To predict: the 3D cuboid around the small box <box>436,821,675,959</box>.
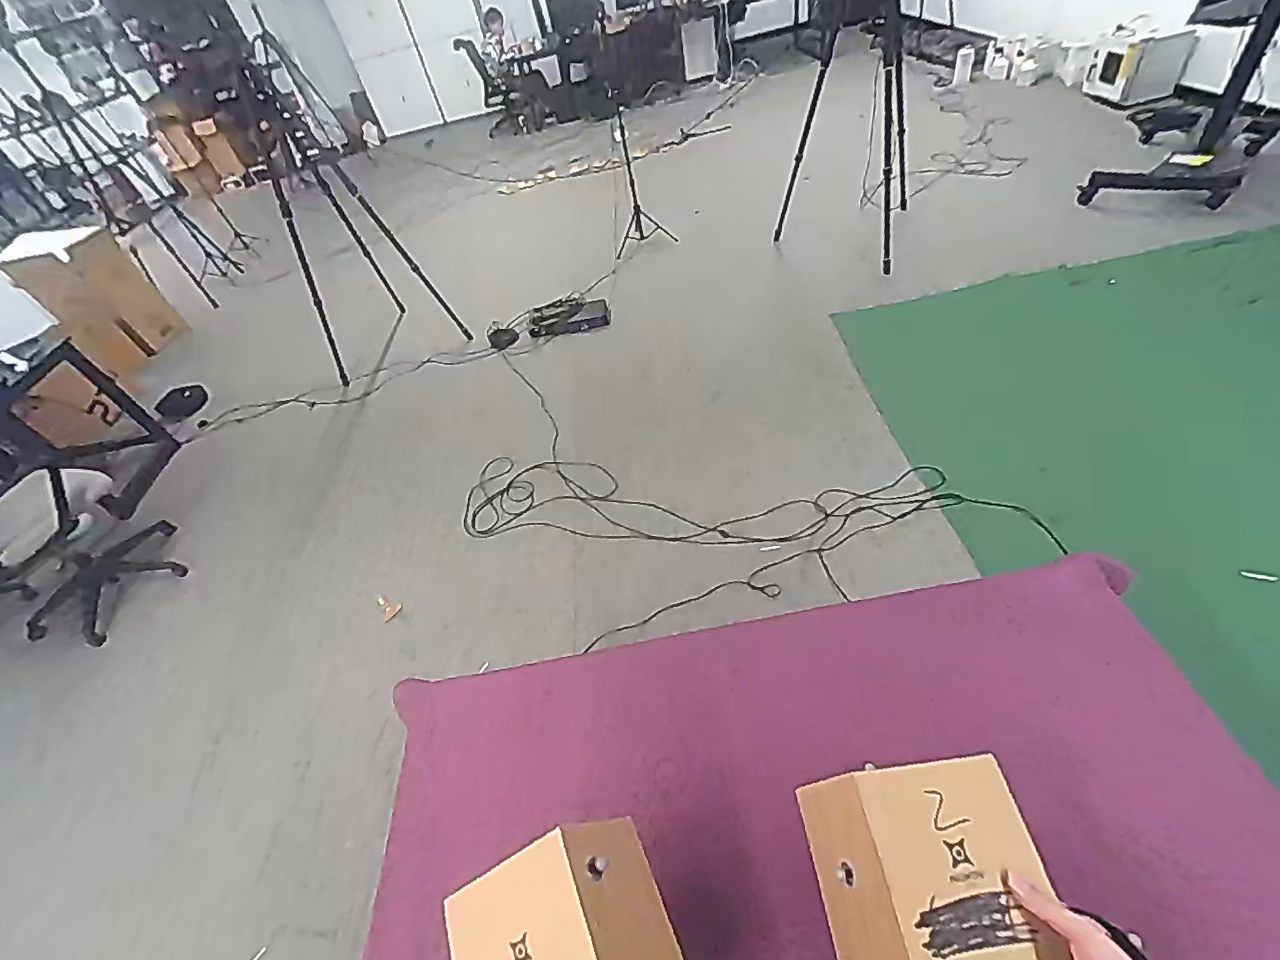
[{"bbox_3d":[-0.086,0.496,0.583,0.168,0.176,0.179,-36,53,9],"label":"small box"}]
